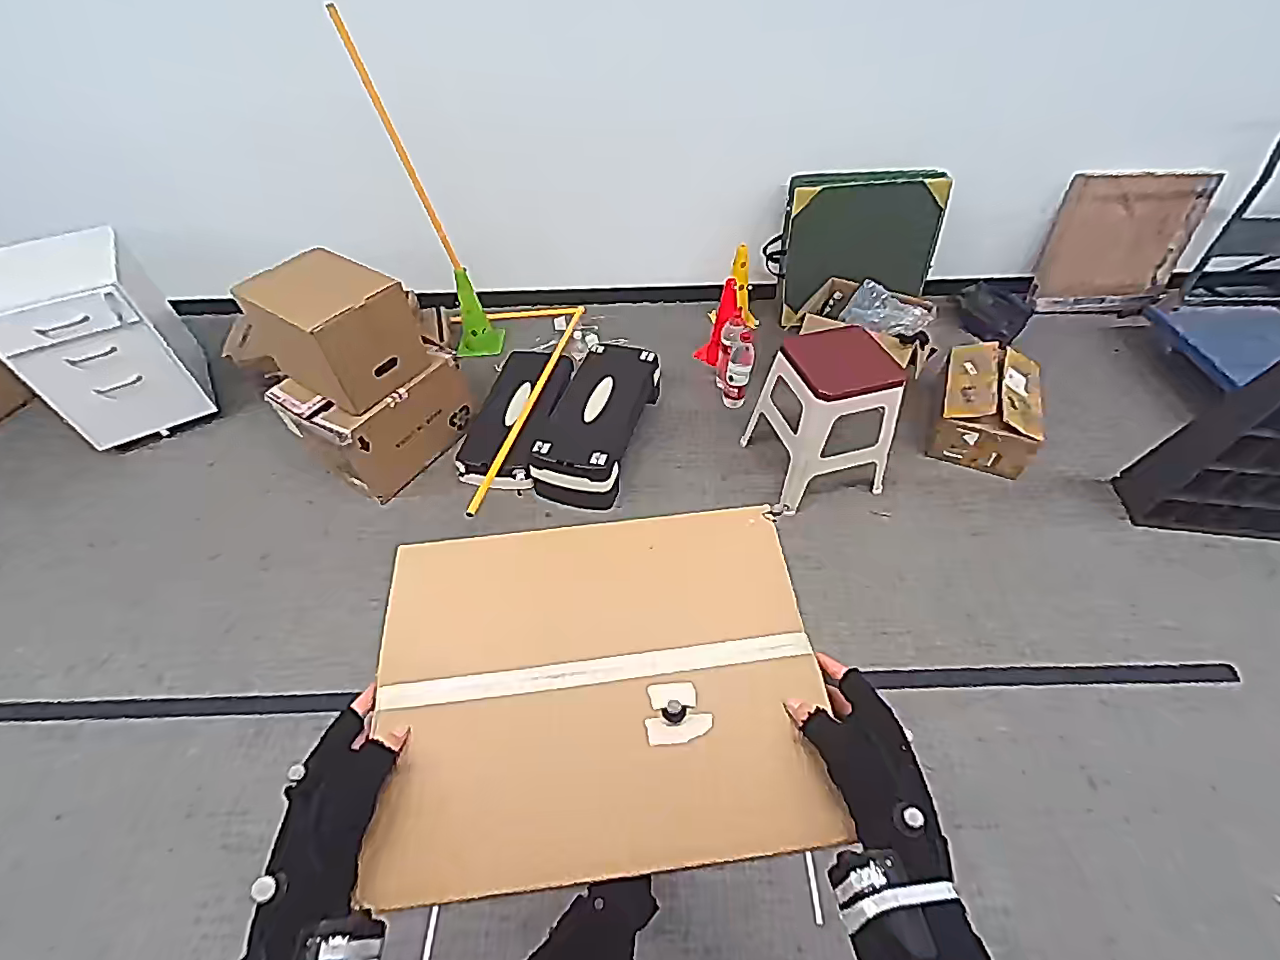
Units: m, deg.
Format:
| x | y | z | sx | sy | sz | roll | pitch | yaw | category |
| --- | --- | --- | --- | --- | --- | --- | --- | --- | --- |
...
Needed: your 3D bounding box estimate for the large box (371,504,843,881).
| x | y | z | sx | sy | sz | roll | pitch | yaw | category |
| --- | --- | --- | --- | --- | --- | --- | --- | --- | --- |
| -0.038 | 0.258 | 0.650 | 0.408 | 0.320 | 0.320 | -6 | 56 | -3 | large box |
